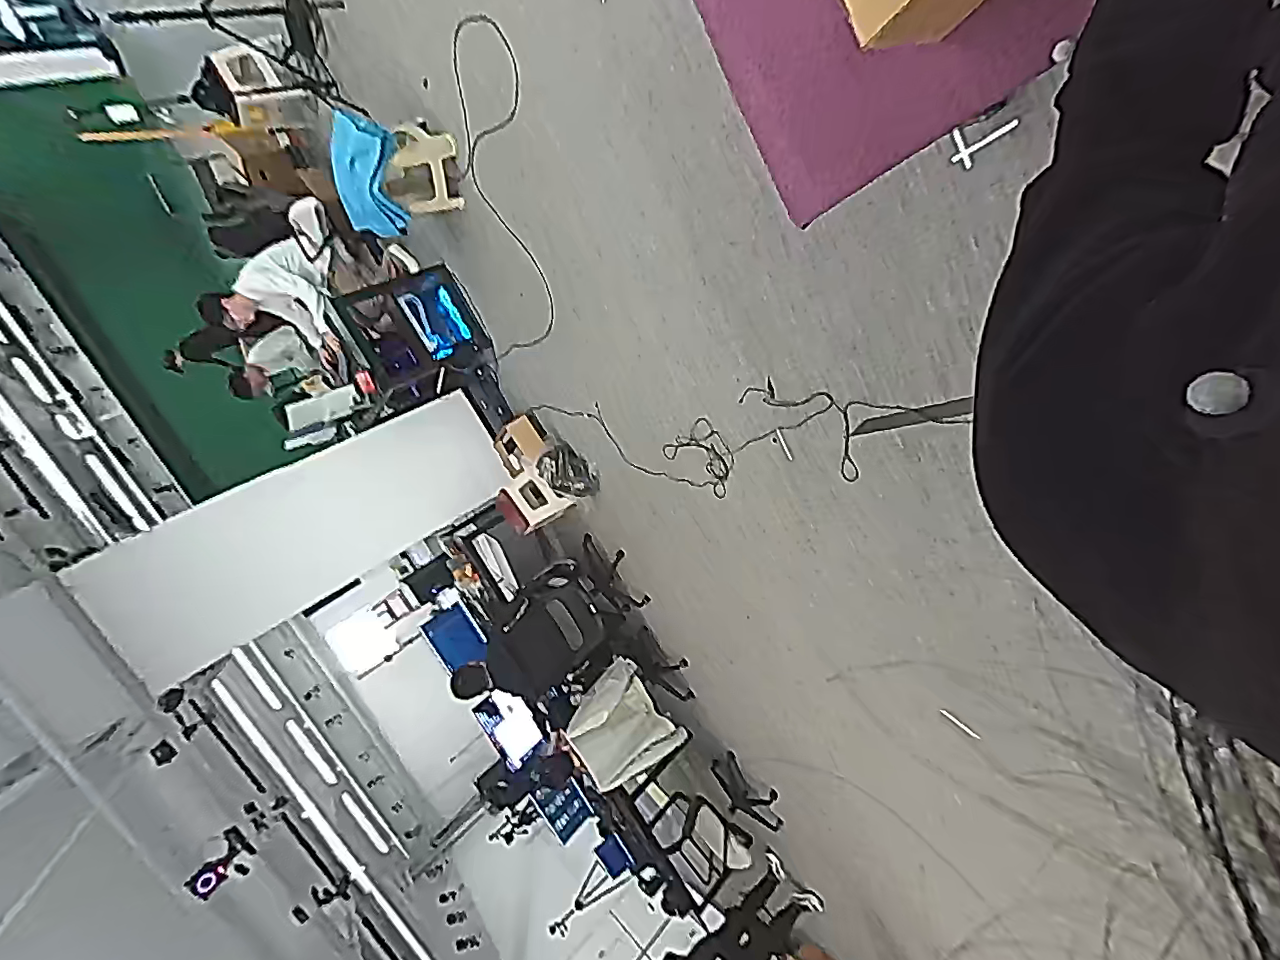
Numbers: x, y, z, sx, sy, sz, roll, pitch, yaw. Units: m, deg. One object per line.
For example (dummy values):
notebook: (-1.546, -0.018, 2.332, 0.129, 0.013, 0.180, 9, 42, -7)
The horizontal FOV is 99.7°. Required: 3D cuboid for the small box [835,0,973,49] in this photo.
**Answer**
small box: (0.270, -0.536, 0.477, 0.179, 0.176, 0.168, -17, 104, 59)
